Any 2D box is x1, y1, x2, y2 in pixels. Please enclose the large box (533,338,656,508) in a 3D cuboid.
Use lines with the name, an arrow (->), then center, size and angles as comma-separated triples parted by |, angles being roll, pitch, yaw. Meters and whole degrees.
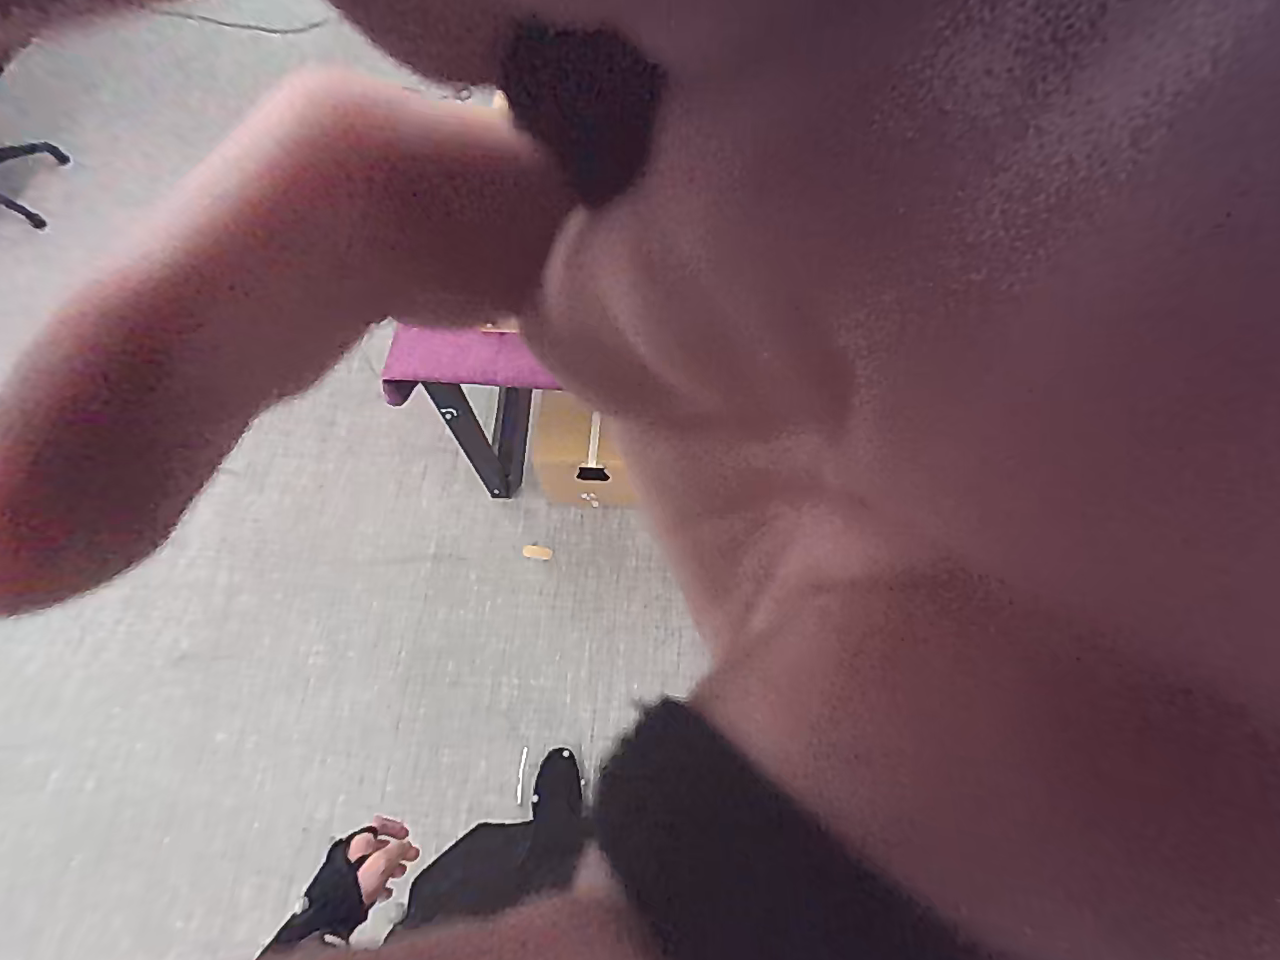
large box -> -0.115, -0.156, 1.592 | 0.320, 0.320, 0.408 | 3, 65, 0
